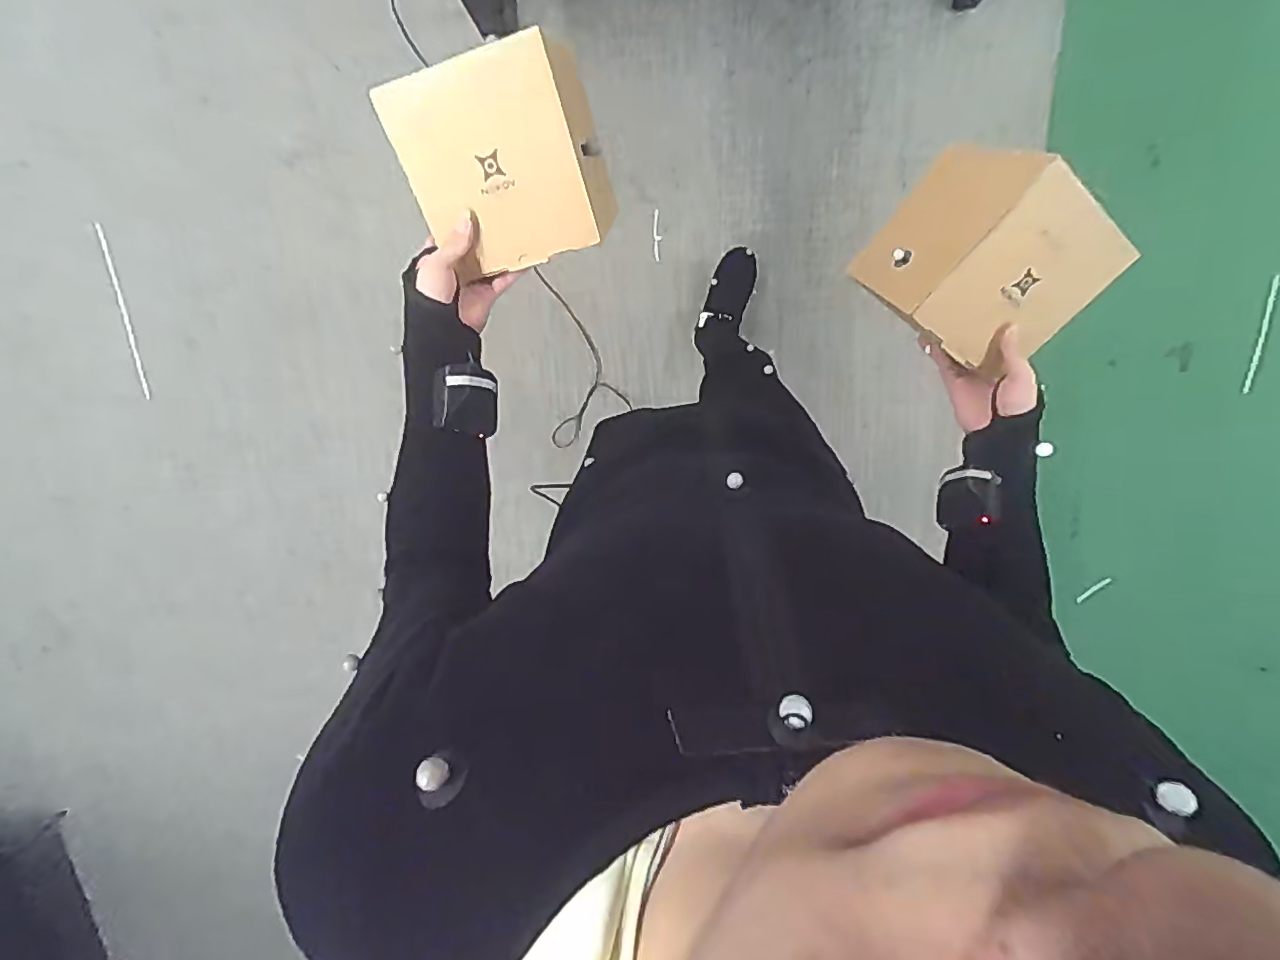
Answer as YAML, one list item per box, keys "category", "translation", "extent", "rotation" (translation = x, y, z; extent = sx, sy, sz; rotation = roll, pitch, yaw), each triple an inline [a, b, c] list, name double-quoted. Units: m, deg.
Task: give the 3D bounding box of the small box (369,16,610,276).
- category: "small box"
  translation: [-0.137, -0.341, 0.569]
  extent: [0.168, 0.176, 0.179]
  rotation: [-12, 123, 11]

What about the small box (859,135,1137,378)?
- category: "small box"
  translation: [0.378, -0.254, 0.613]
  extent: [0.168, 0.176, 0.179]
  rotation: [25, 119, -24]
